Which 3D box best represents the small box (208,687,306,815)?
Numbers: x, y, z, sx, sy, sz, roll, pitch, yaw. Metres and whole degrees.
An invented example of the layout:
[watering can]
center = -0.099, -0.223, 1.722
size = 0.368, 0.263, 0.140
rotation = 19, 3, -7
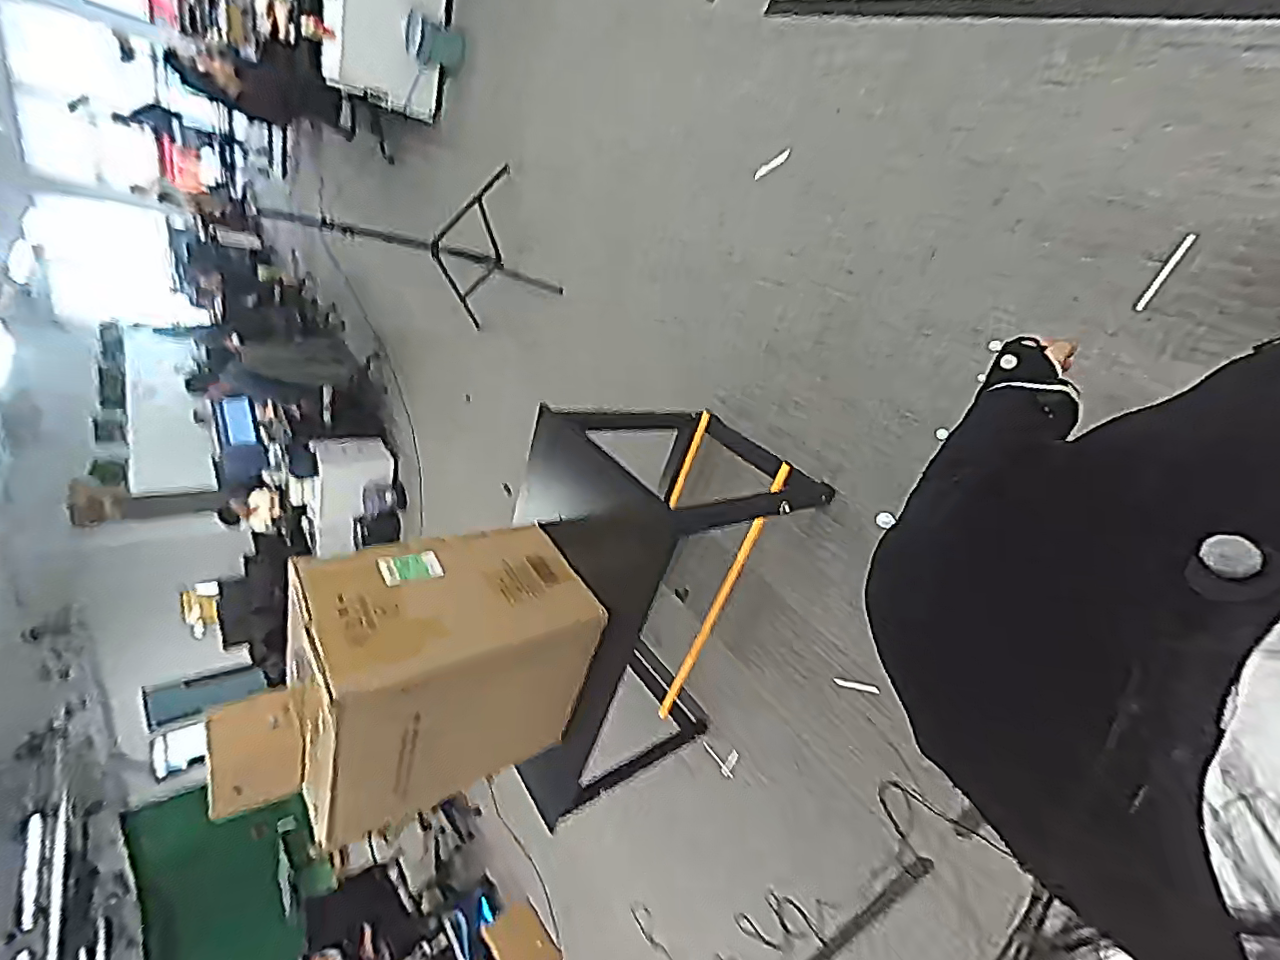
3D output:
[small box]
center = -0.876, 0.611, 1.238
size = 0.168, 0.176, 0.179
rotation = 43, 123, 39
